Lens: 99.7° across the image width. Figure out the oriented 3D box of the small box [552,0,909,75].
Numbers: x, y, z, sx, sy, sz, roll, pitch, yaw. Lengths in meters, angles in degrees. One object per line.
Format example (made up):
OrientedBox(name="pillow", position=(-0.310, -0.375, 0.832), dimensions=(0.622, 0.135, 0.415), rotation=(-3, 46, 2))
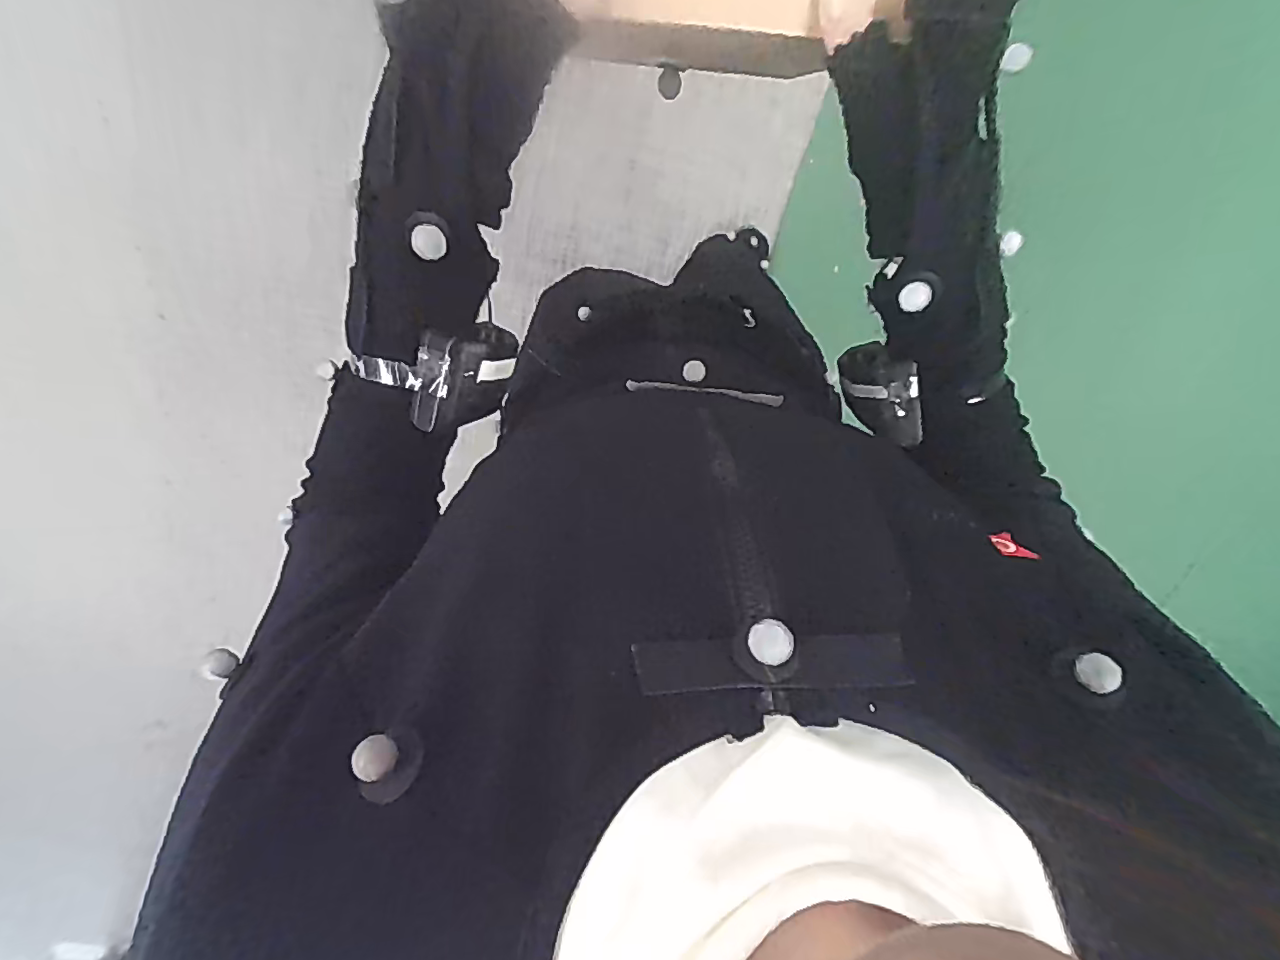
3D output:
OrientedBox(name="small box", position=(0.037, -0.321, 0.262), dimensions=(0.168, 0.176, 0.179), rotation=(0, 122, -6))
